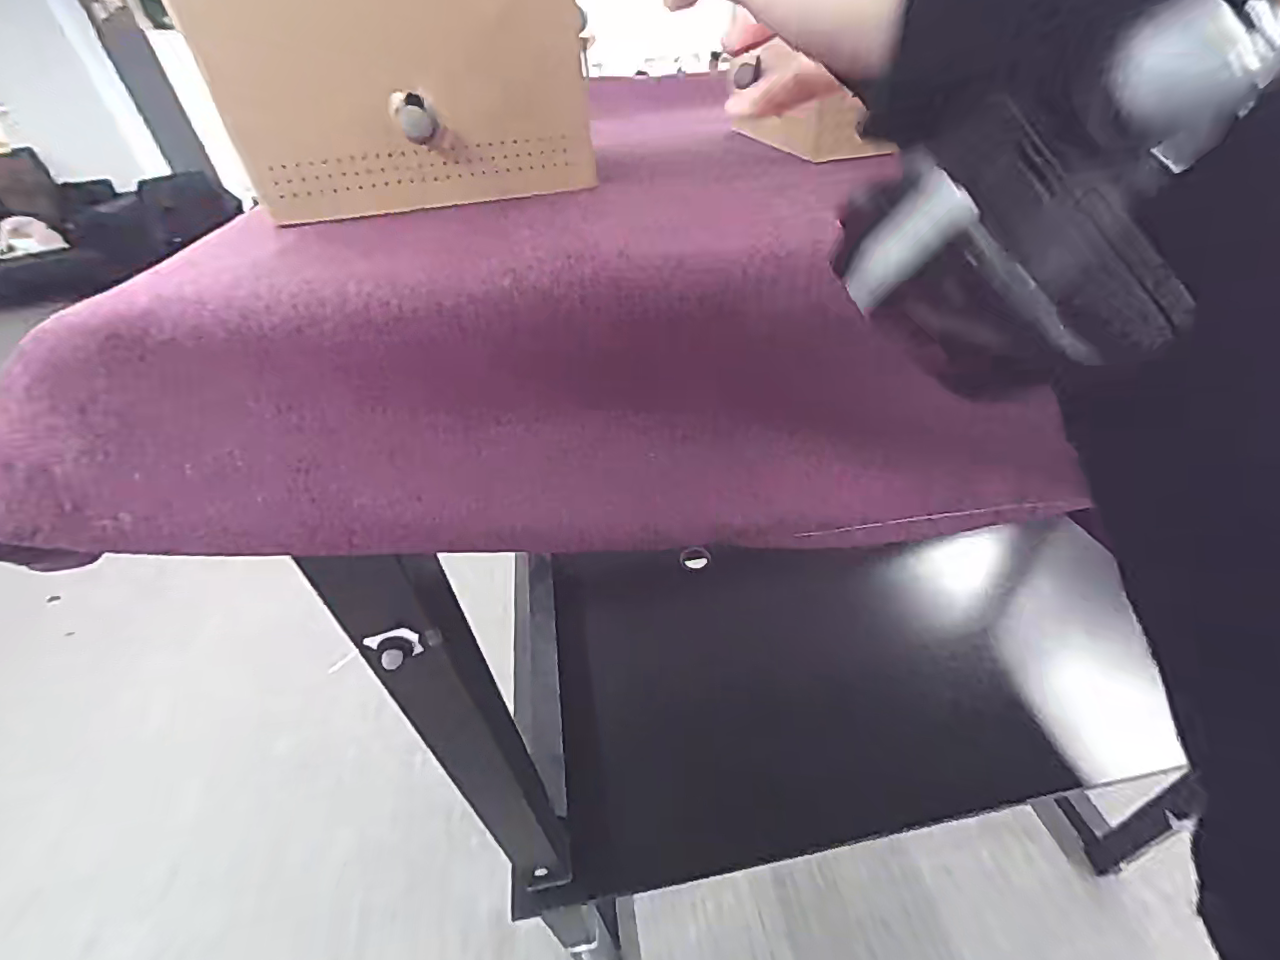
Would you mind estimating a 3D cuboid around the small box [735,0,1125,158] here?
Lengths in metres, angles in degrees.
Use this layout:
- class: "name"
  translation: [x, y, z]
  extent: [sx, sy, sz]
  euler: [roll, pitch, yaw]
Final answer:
- class: "small box"
  translation: [0.163, -0.308, 0.322]
  extent: [0.179, 0.176, 0.168]
  euler: [-10, 39, -4]

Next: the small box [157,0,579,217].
- class: "small box"
  translation: [-0.131, -0.257, 0.293]
  extent: [0.179, 0.176, 0.168]
  euler: [-11, 39, -8]
